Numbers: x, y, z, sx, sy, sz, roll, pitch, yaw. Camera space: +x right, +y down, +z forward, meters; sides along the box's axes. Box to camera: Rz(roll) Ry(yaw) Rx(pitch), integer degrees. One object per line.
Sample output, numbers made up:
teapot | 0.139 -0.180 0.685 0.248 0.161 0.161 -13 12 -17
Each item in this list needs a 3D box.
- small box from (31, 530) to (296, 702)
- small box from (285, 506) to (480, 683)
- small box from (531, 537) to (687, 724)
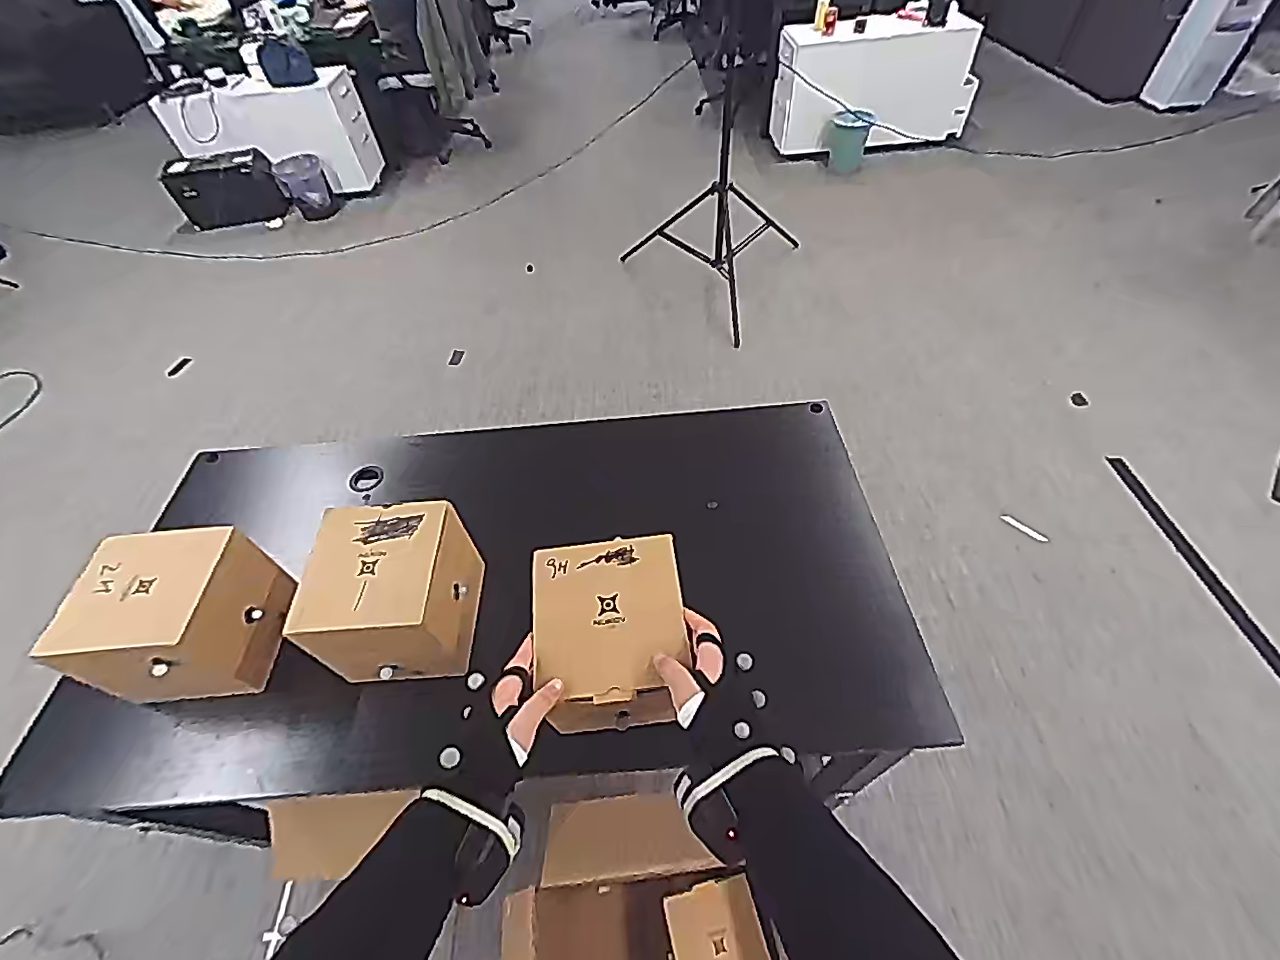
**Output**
small box | -0.609 0.186 0.727 0.179 0.176 0.168 -5 50 0
small box | -0.326 0.157 0.732 0.168 0.176 0.179 -4 51 1
small box | -0.033 0.191 0.661 0.168 0.176 0.179 -7 57 -1
